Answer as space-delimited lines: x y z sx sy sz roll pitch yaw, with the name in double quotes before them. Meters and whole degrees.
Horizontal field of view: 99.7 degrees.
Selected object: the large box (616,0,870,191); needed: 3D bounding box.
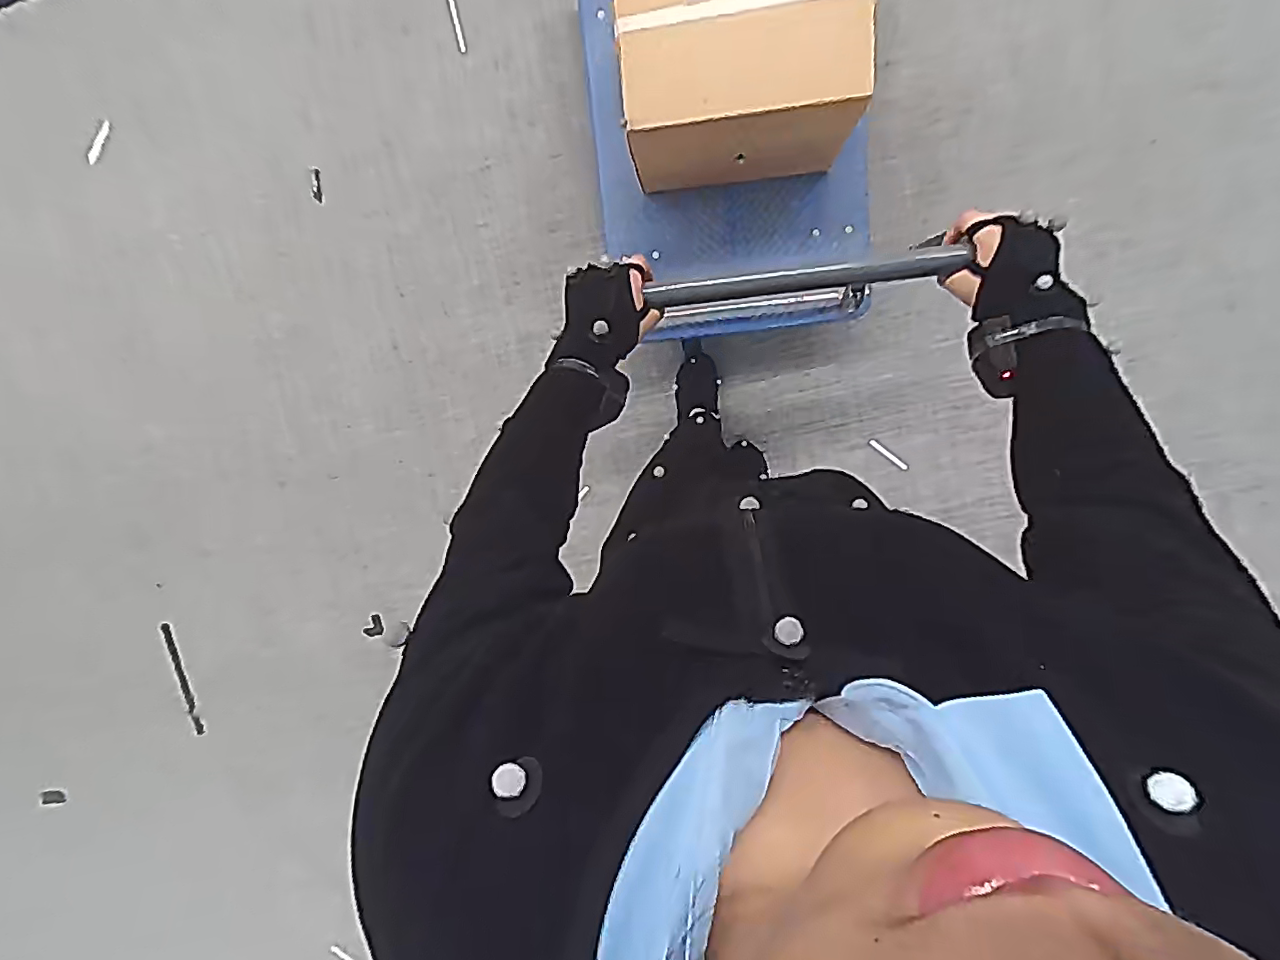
"large box" 0.181 -0.786 1.022 0.408 0.320 0.320 -4 98 8
